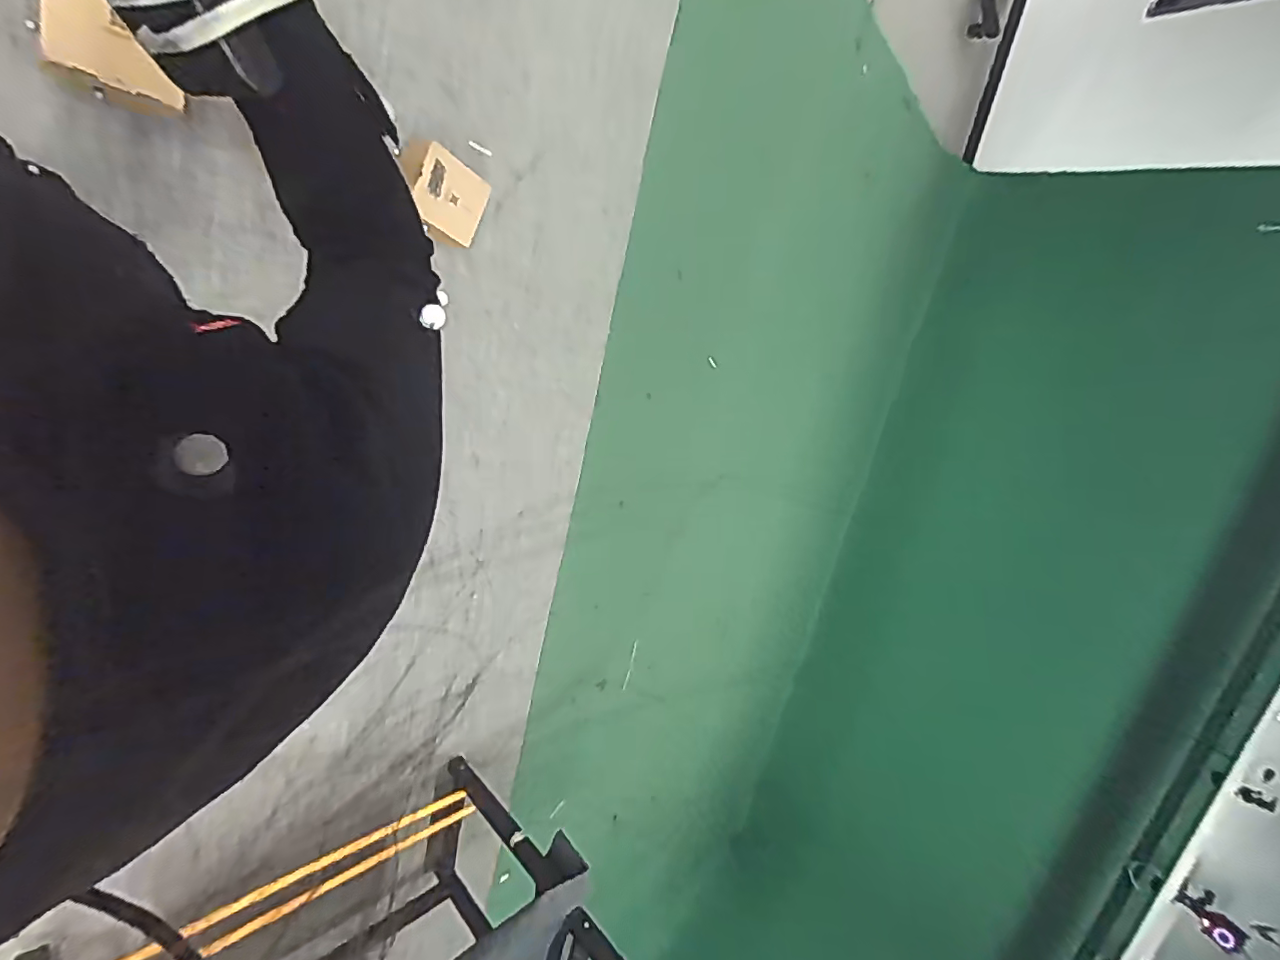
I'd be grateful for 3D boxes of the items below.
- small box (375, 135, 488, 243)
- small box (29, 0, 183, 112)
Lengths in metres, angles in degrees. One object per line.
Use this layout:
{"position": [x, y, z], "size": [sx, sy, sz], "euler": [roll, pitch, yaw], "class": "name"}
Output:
{"position": [-0.516, -0.707, 1.328], "size": [0.179, 0.176, 0.168], "euler": [20, 94, -53], "class": "small box"}
{"position": [-0.878, -0.742, 0.888], "size": [0.168, 0.176, 0.179], "euler": [-2, 110, -49], "class": "small box"}
